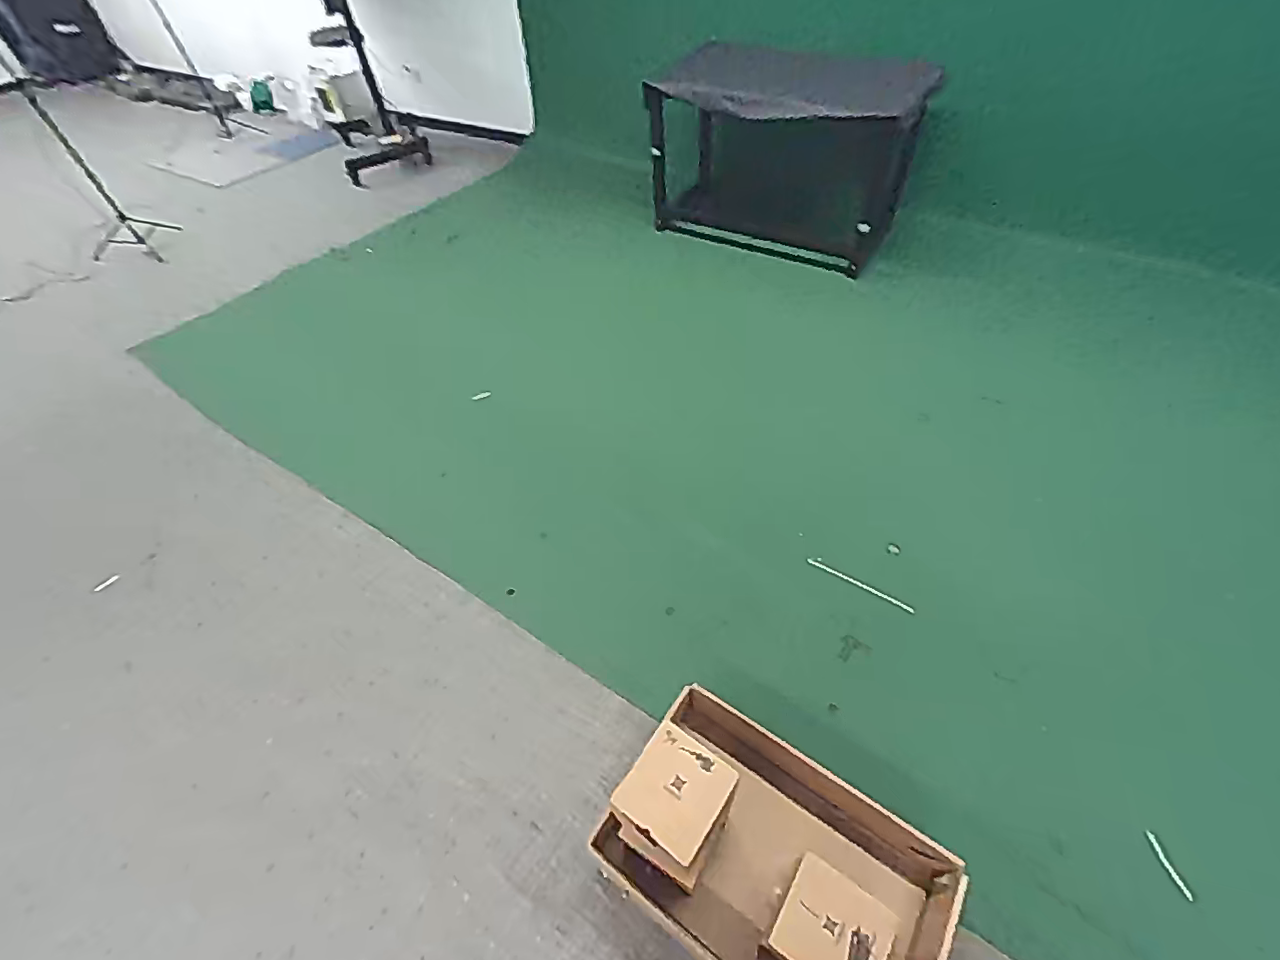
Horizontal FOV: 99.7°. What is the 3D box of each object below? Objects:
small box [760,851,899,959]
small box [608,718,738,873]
[{"bbox_3d":[0.340,0.826,0.993,0.179,0.176,0.168,26,57,25],"label":"small box"},{"bbox_3d":[0.066,0.587,1.002,0.168,0.176,0.179,29,58,26],"label":"small box"}]
